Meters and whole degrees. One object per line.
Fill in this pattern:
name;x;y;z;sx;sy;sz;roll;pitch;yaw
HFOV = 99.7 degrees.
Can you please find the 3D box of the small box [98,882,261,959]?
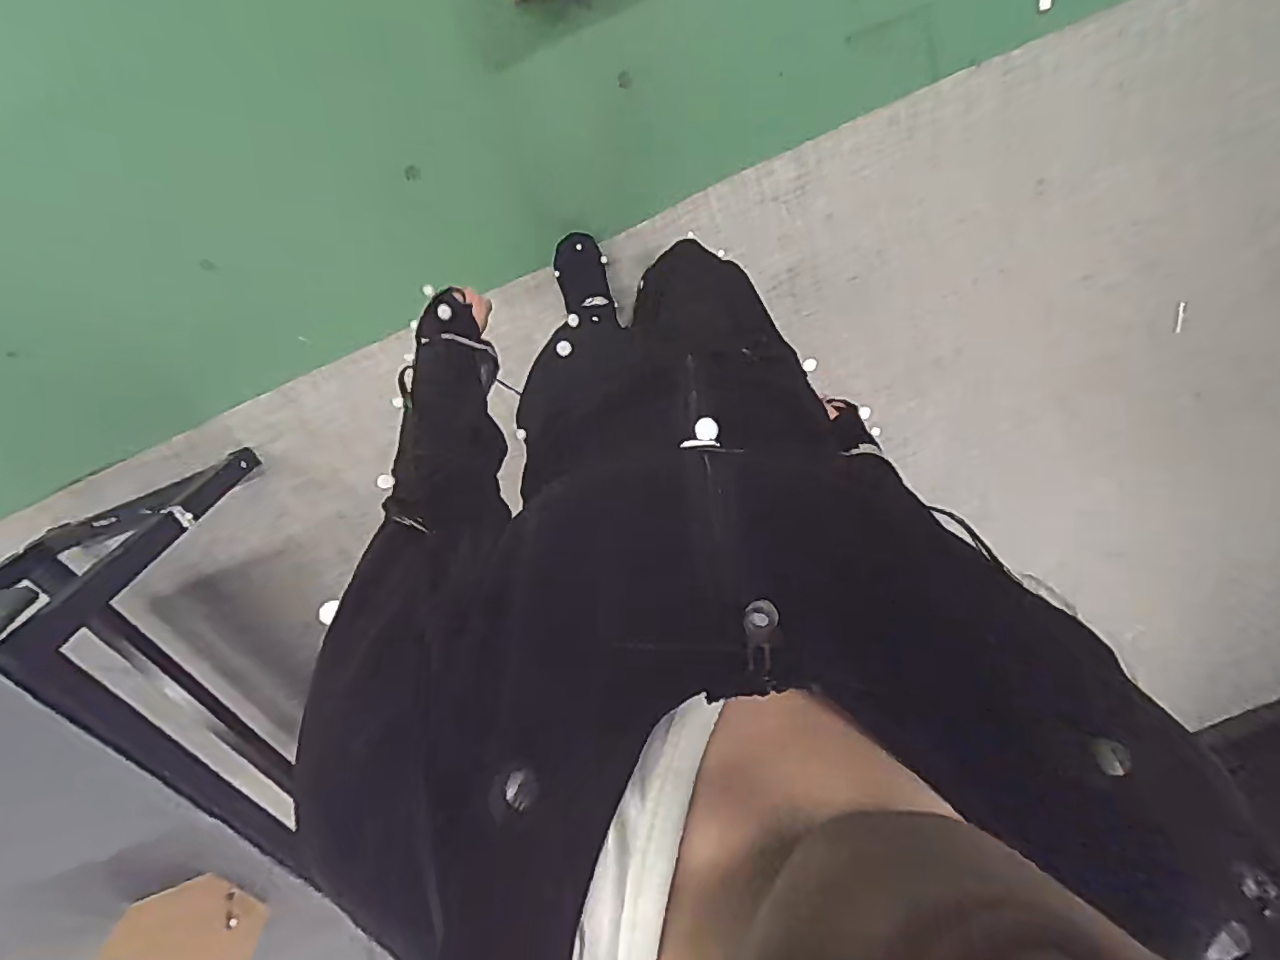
small box;-0.830;0.863;0.956;0.179;0.176;0.168;-23;119;3
